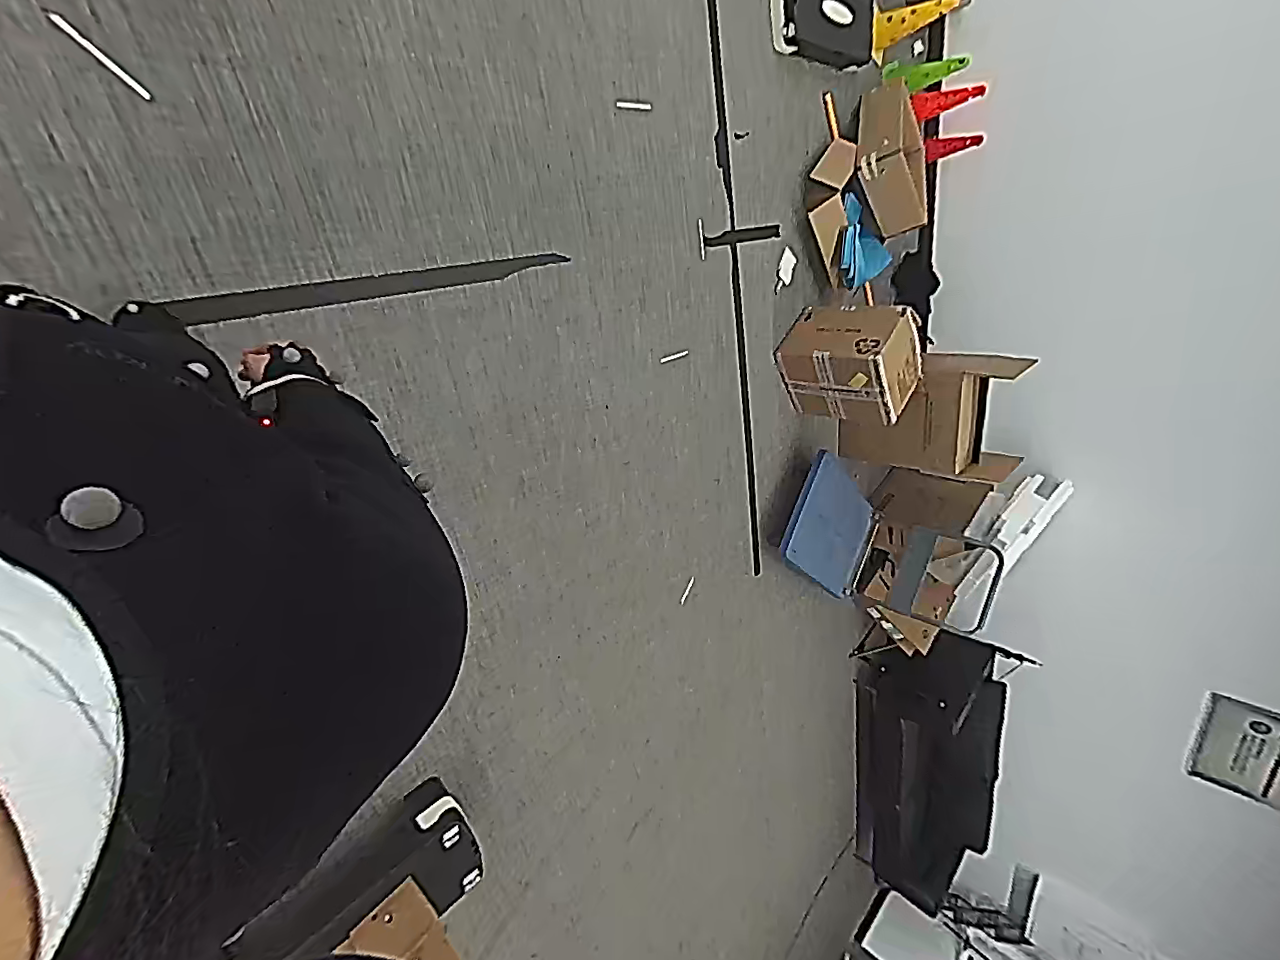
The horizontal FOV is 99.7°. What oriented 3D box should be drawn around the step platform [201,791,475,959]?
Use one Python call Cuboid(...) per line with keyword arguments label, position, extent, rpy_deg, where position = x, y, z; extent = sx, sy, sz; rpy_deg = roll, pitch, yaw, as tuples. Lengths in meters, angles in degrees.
Cuboid(label="step platform", position=(-0.785, 1.190, 1.425), extent=(0.684, 0.204, 0.286), rpy_deg=(-29, 121, -38))
